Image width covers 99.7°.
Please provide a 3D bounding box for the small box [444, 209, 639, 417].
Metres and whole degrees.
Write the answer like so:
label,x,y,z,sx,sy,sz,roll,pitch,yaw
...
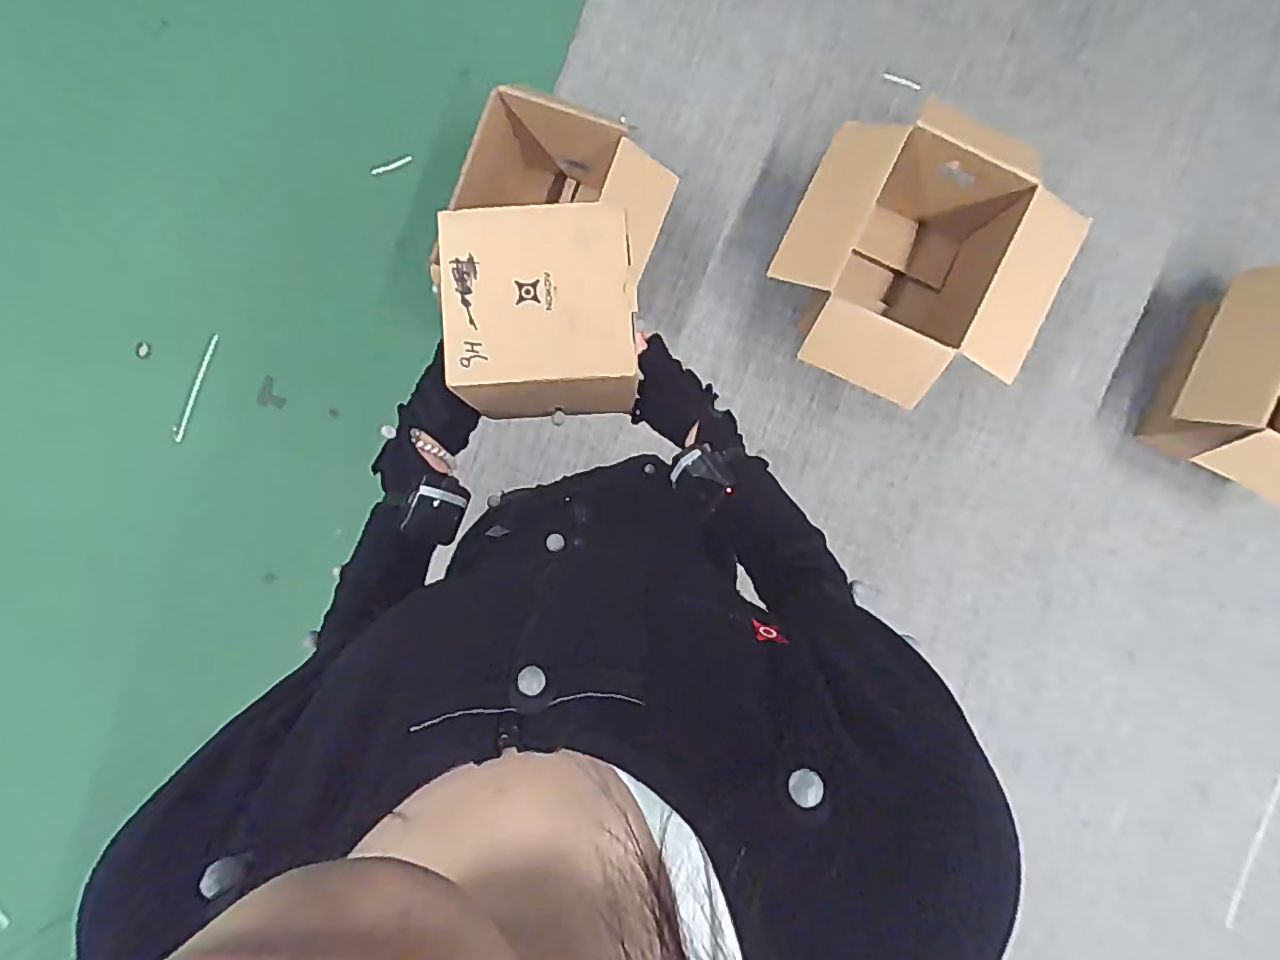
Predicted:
label,x,y,z,sx,sy,sz,roll,pitch,yaw
small box,-0.097,-0.165,0.579,0.179,0.176,0.168,-3,85,-4
